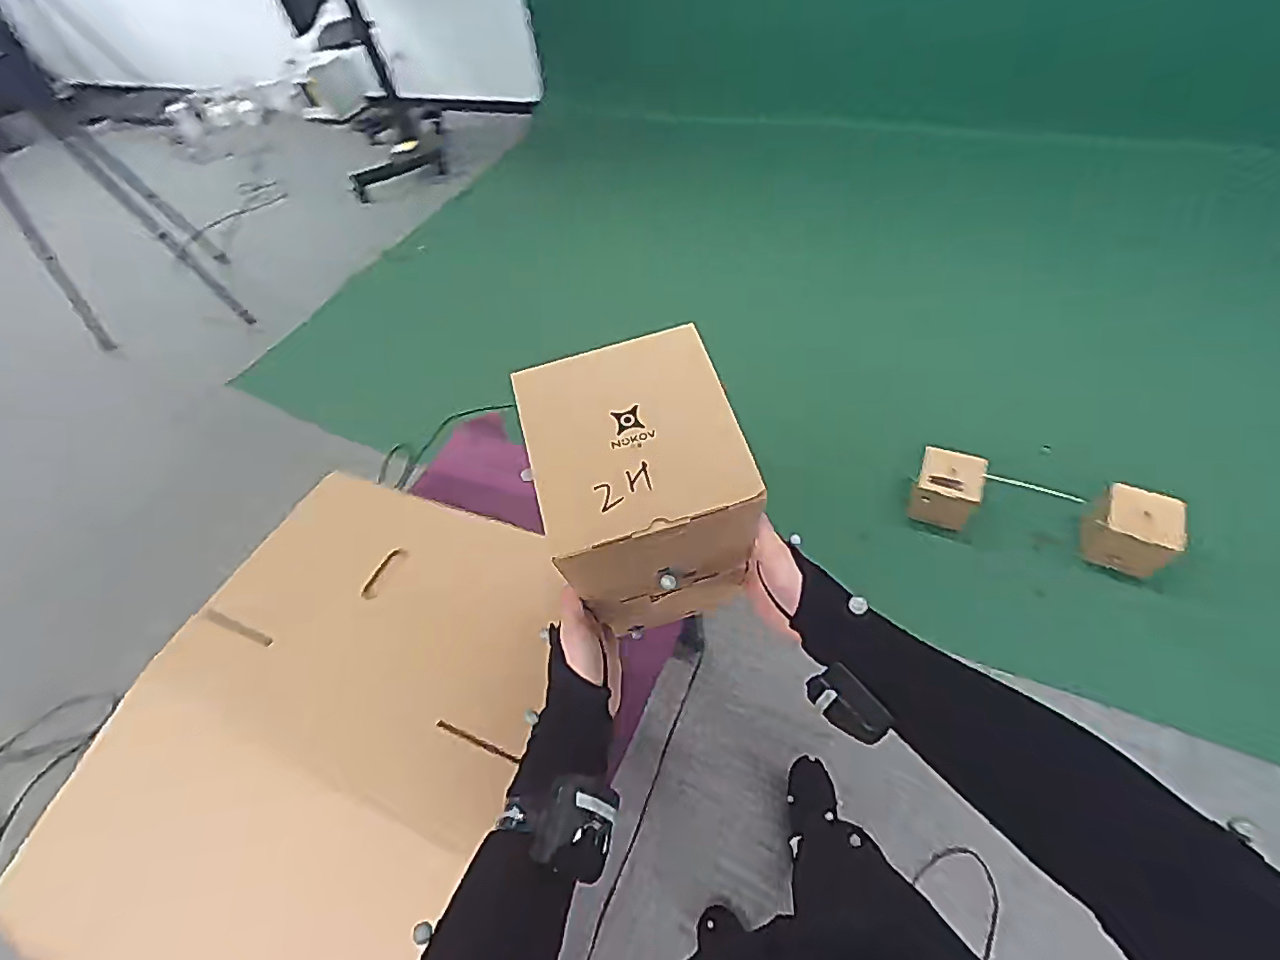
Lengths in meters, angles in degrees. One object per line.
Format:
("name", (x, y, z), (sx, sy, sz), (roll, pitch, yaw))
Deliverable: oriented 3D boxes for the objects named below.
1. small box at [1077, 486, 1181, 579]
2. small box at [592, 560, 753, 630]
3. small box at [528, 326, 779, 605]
("small box", (1.400, 0.153, 1.556), (0.168, 0.176, 0.179), (21, 61, 22))
("small box", (0.024, 0.069, 0.641), (0.168, 0.176, 0.179), (-15, 63, -2))
("small box", (0.009, -0.004, 0.494), (0.168, 0.176, 0.179), (-15, 64, -2))
